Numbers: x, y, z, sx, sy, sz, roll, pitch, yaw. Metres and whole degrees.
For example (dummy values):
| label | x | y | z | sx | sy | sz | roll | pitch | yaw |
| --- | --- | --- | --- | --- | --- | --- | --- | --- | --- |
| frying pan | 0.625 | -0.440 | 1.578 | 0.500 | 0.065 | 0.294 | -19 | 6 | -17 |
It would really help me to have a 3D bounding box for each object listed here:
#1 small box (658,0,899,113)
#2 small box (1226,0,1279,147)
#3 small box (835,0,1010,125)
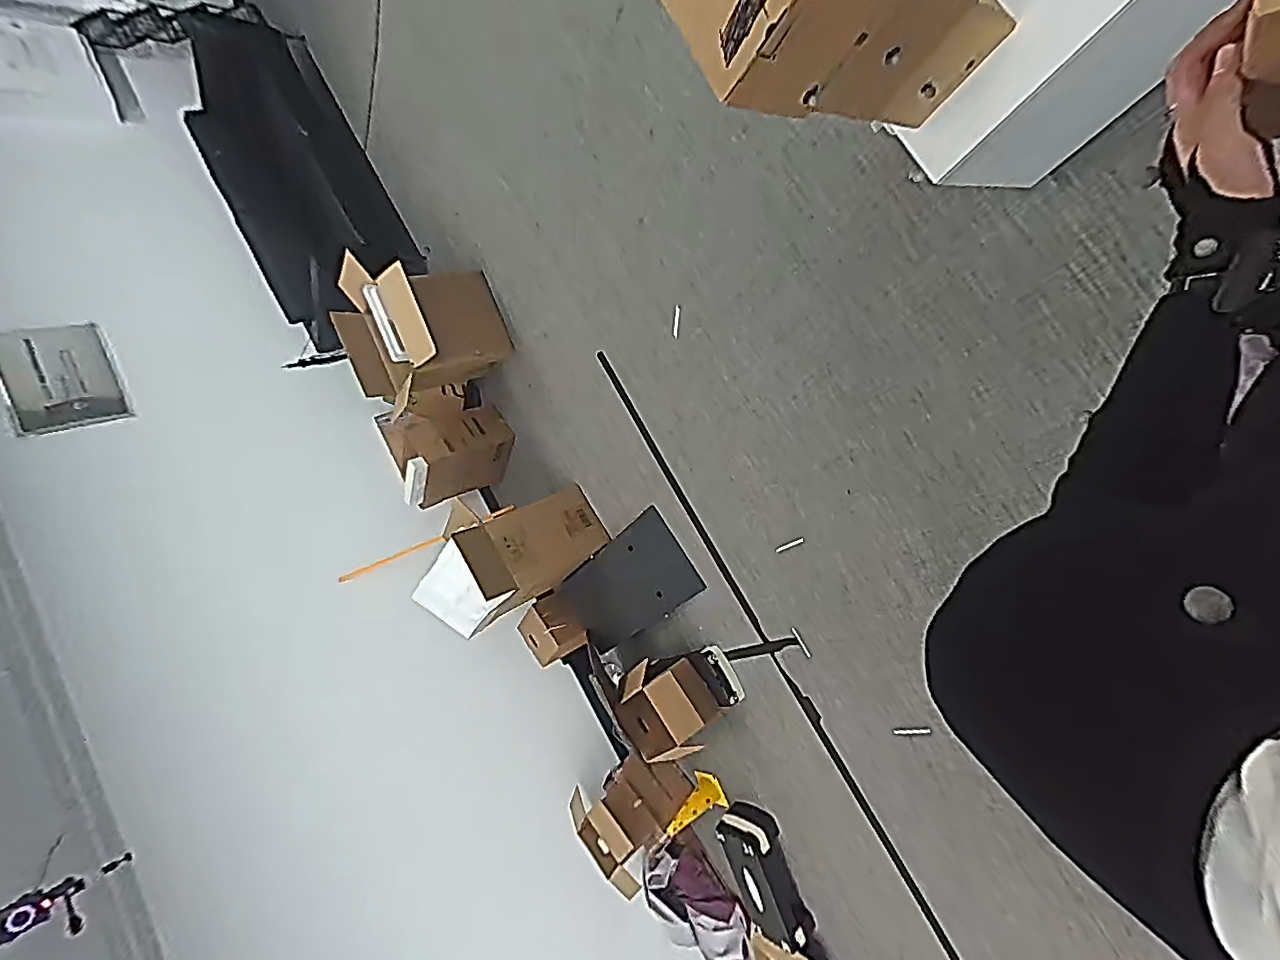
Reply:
| label | x | y | z | sx | sy | sz | roll | pitch | yaw |
| --- | --- | --- | --- | --- | --- | --- | --- | --- | --- |
| small box | 0.153 | -0.545 | 0.601 | 0.168 | 0.176 | 0.179 | -35 | 80 | 53 |
| small box | 0.465 | -0.334 | 0.304 | 0.168 | 0.176 | 0.179 | 8 | 95 | 44 |
| small box | 0.396 | -0.657 | 0.792 | 0.179 | 0.176 | 0.168 | 61 | 142 | 8 |
